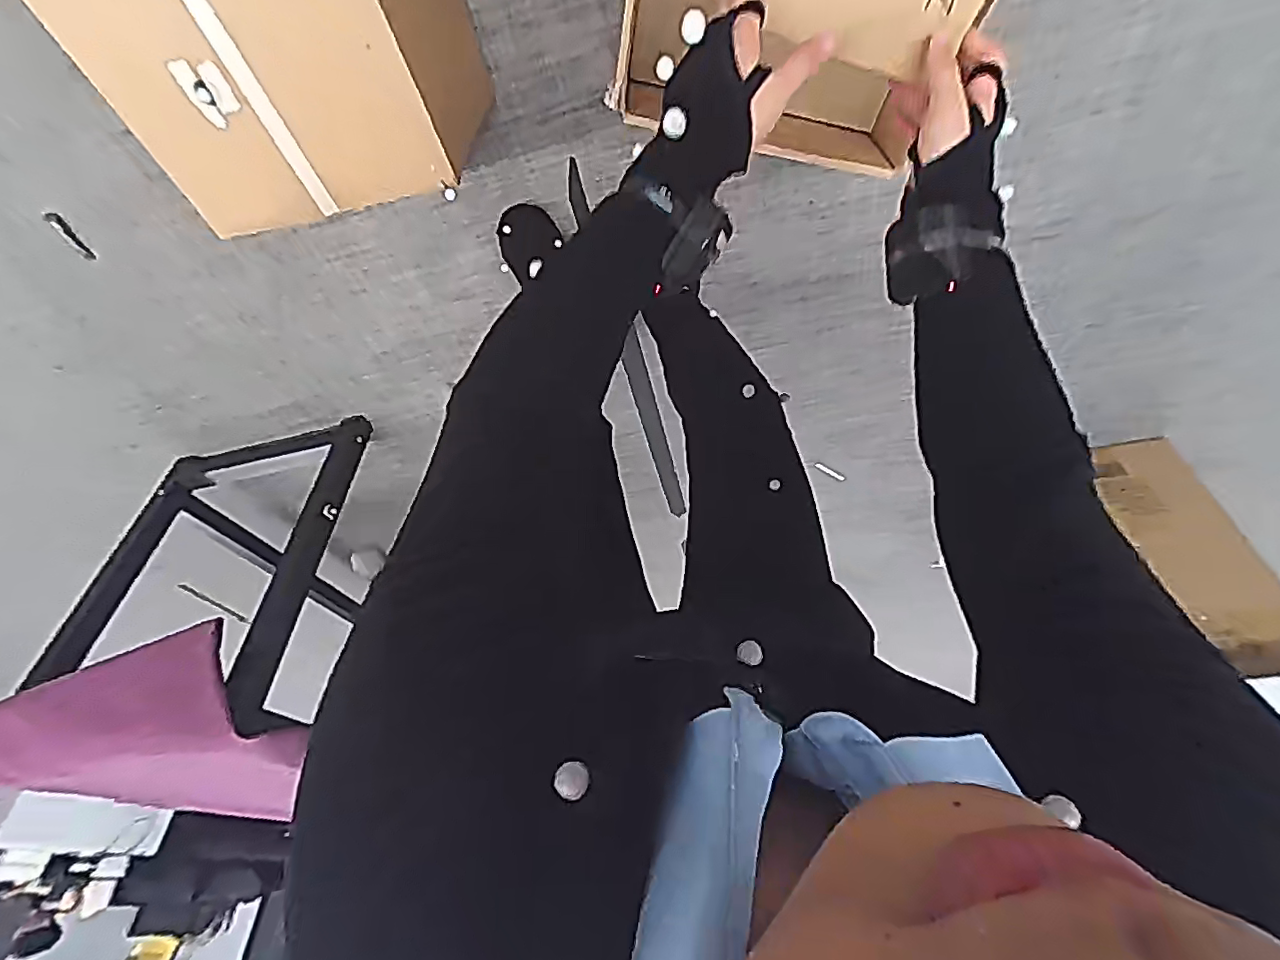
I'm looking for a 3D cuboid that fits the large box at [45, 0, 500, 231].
[{"bbox_3d":[-0.385,-0.557,0.569,0.320,0.320,0.408,-7,142,9],"label":"large box"}]

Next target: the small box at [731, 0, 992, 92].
[{"bbox_3d":[0.173,-0.436,0.409,0.179,0.176,0.168,5,139,-17],"label":"small box"}]
